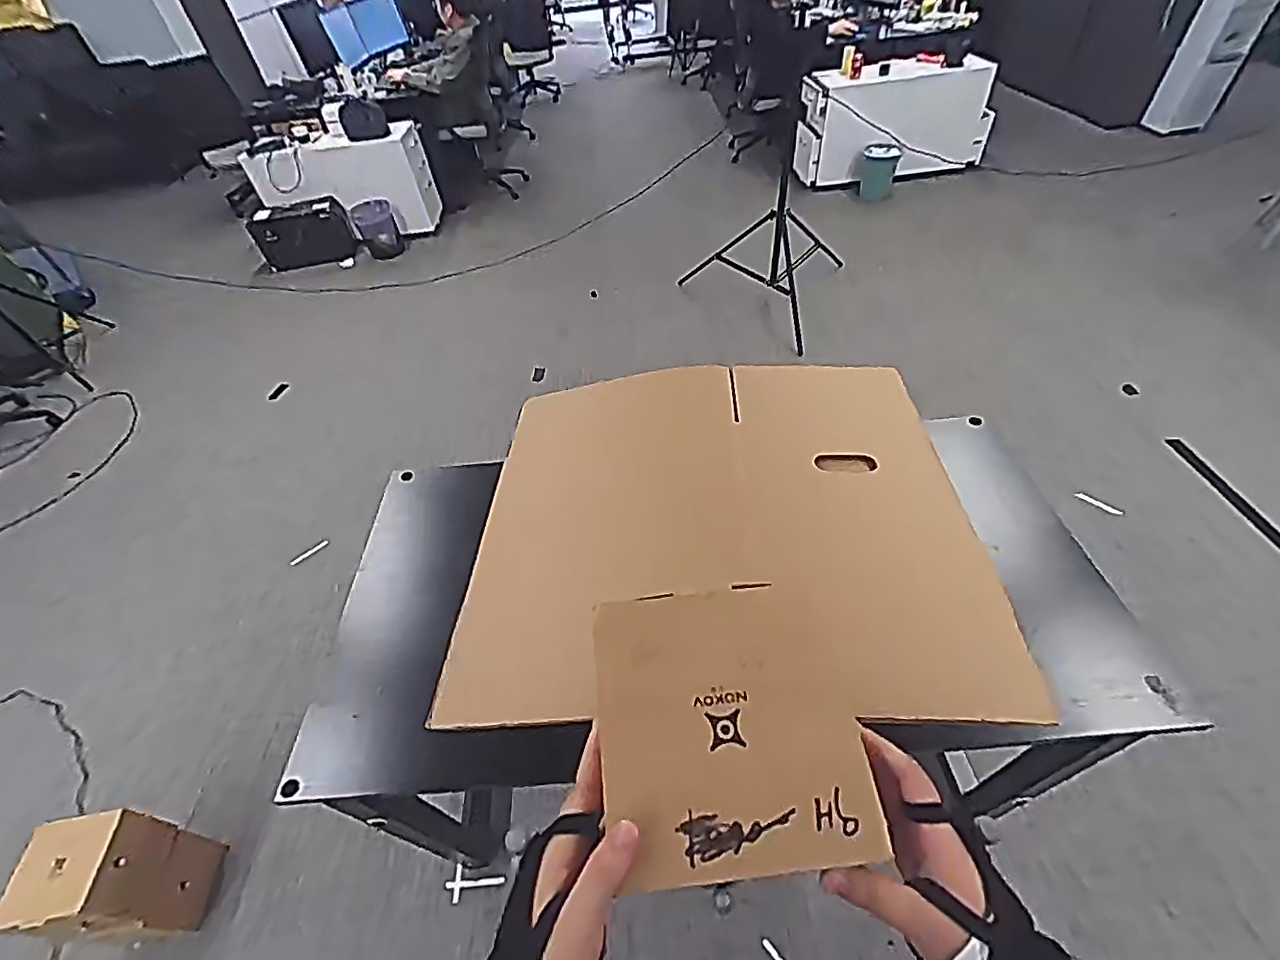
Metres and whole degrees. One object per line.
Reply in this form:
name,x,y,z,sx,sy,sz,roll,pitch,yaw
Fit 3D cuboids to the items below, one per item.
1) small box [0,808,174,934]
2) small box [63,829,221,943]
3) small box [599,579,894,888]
small box,-1.111,0.798,1.098,0.168,0.176,0.179,-10,46,-4
small box,-1.095,0.912,1.213,0.168,0.176,0.179,-8,48,-1
small box,0.061,0.198,0.419,0.168,0.176,0.179,-7,55,0
